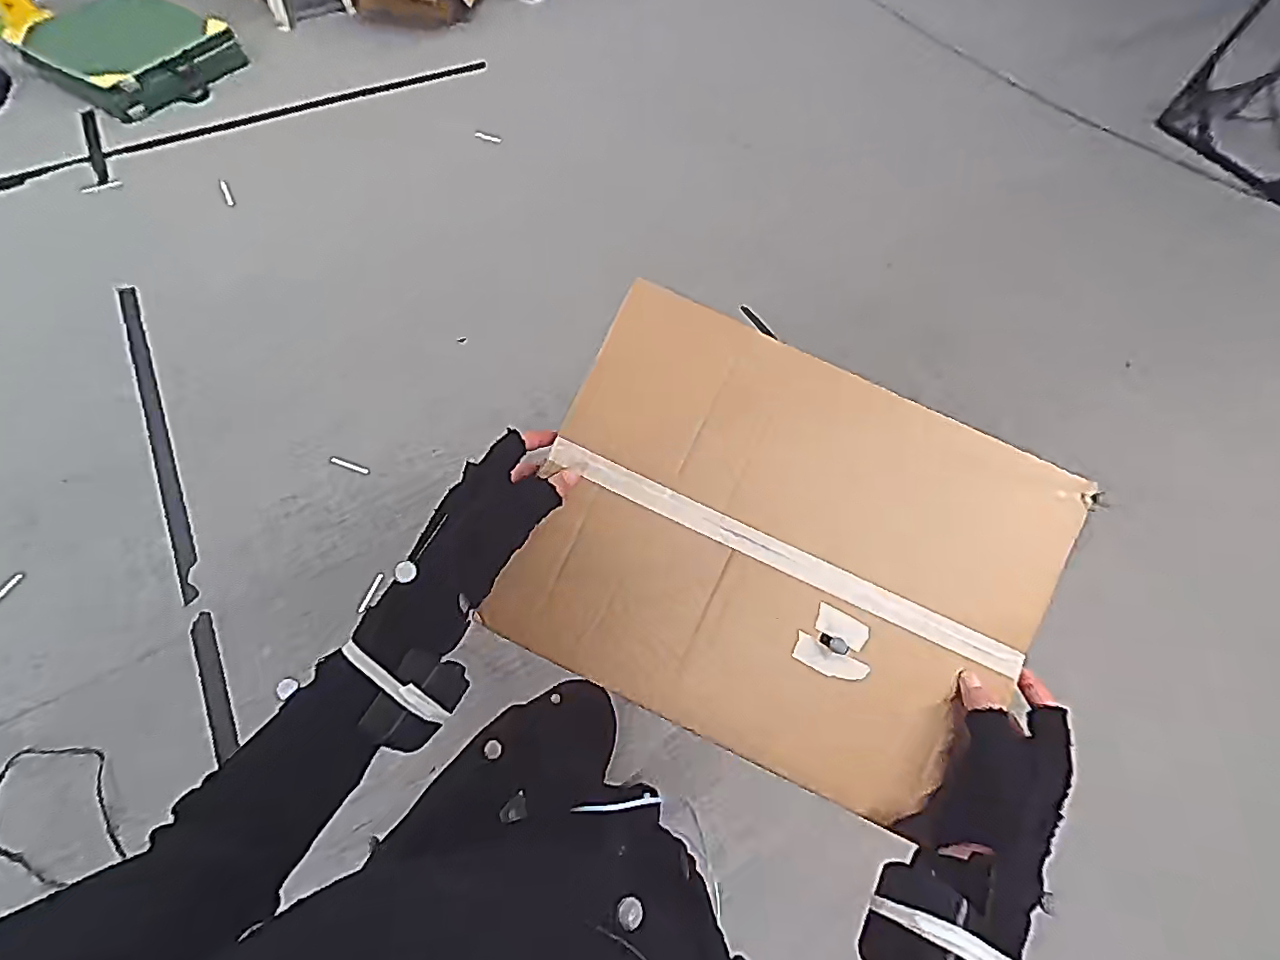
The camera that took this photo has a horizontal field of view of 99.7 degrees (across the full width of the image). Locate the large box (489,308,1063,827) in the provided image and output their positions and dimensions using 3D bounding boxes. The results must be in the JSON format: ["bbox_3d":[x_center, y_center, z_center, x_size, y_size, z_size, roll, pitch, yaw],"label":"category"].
[{"bbox_3d":[0.114,0.074,0.601,0.408,0.320,0.320,25,89,3],"label":"large box"}]
